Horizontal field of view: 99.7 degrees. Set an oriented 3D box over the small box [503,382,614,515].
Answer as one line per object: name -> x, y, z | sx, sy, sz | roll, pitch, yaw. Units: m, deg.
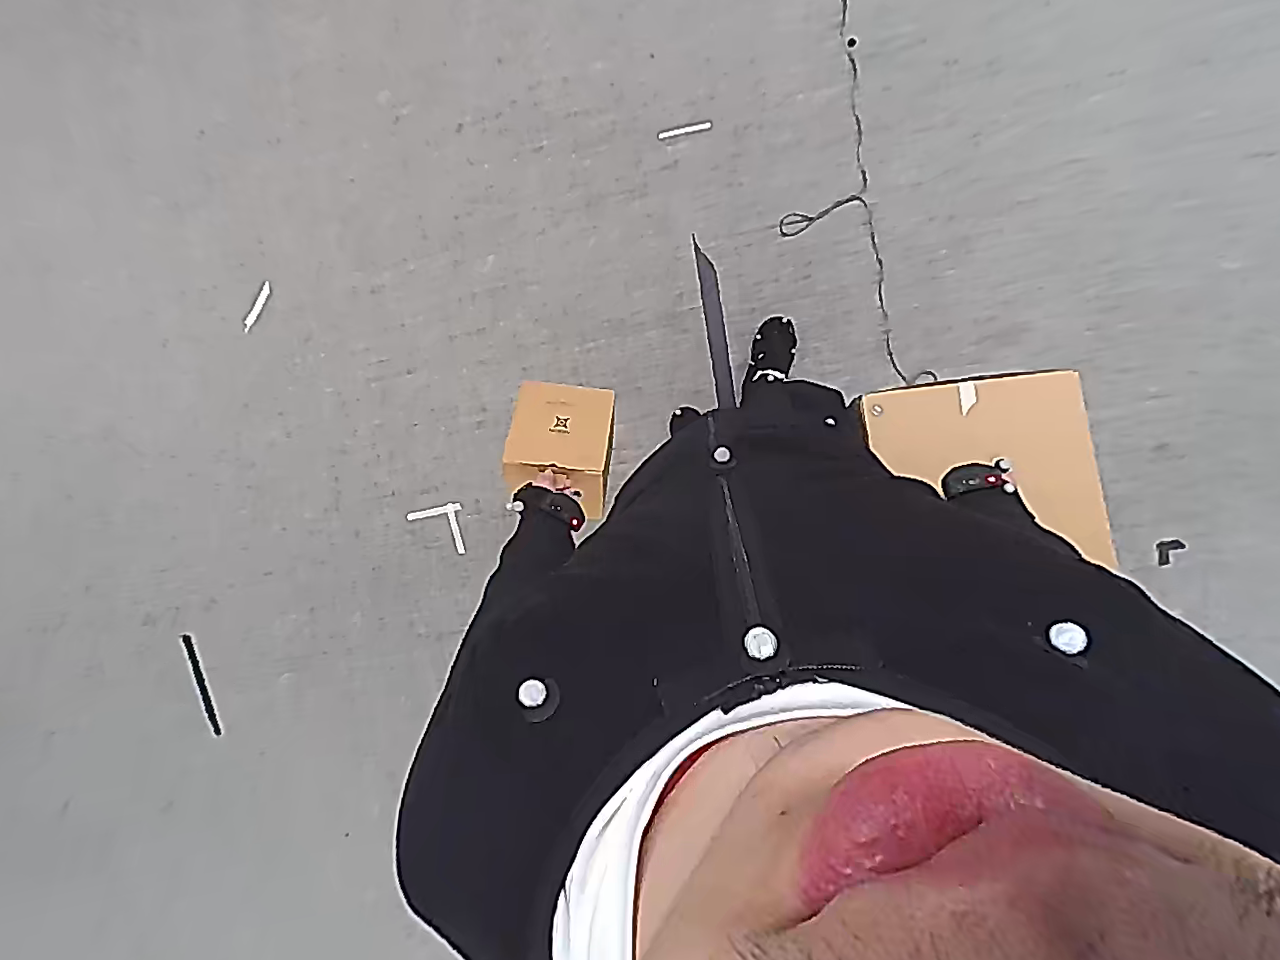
small box -> -0.141, -0.051, 0.988 | 0.168, 0.176, 0.179 | 7, 58, -2
